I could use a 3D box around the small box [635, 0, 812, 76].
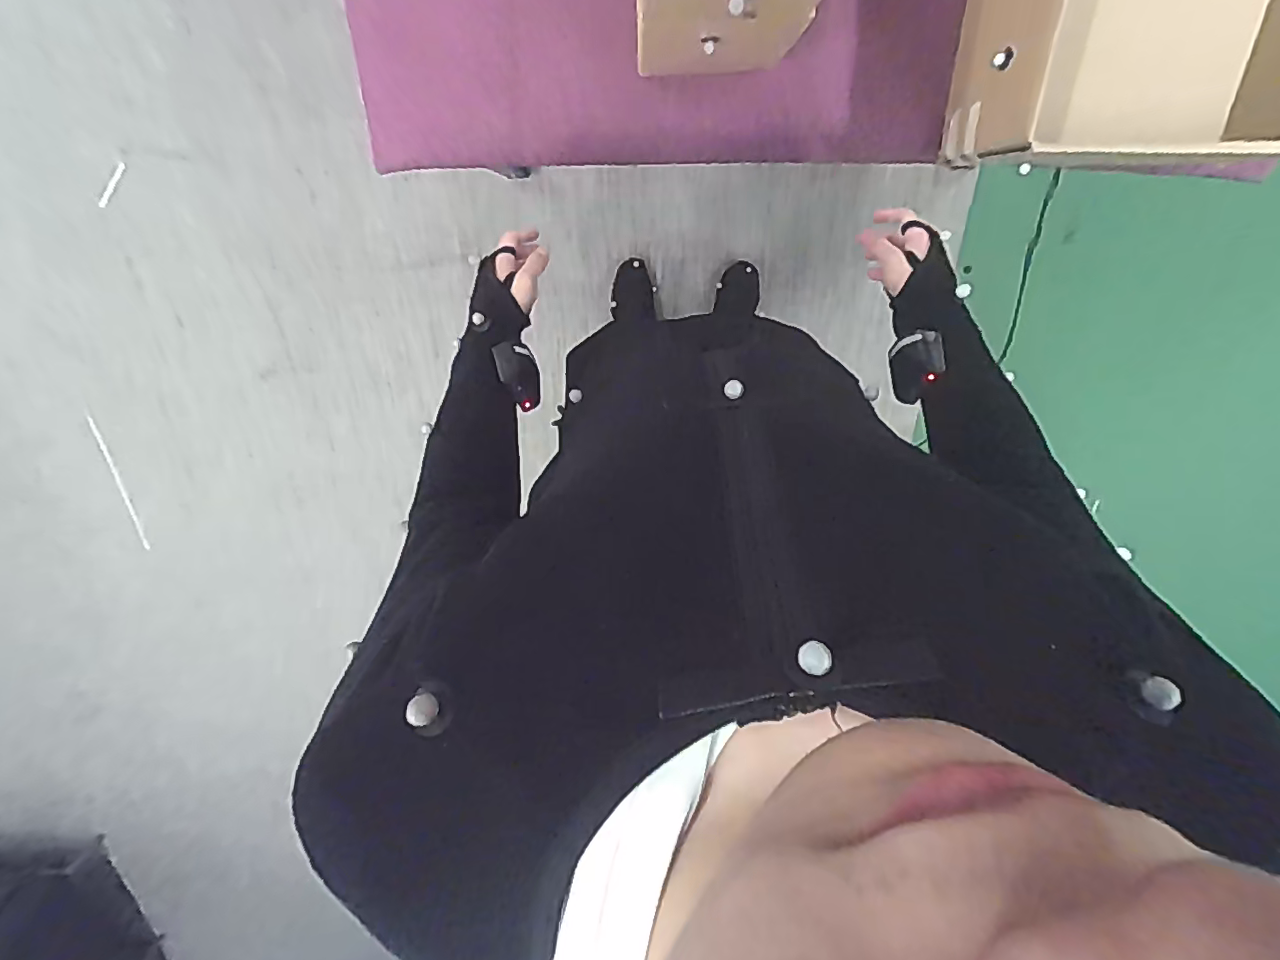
[{"bbox_3d":[0.081,-0.559,0.584,0.179,0.176,0.168,-3,113,0],"label":"small box"}]

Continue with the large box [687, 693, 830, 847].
[{"bbox_3d":[0.434,1.094,2.055,0.408,0.320,0.320,-29,112,11],"label":"large box"}]

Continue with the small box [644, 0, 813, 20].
[{"bbox_3d":[0.082,-0.499,0.431,0.168,0.176,0.179,-2,114,0],"label":"small box"}]
